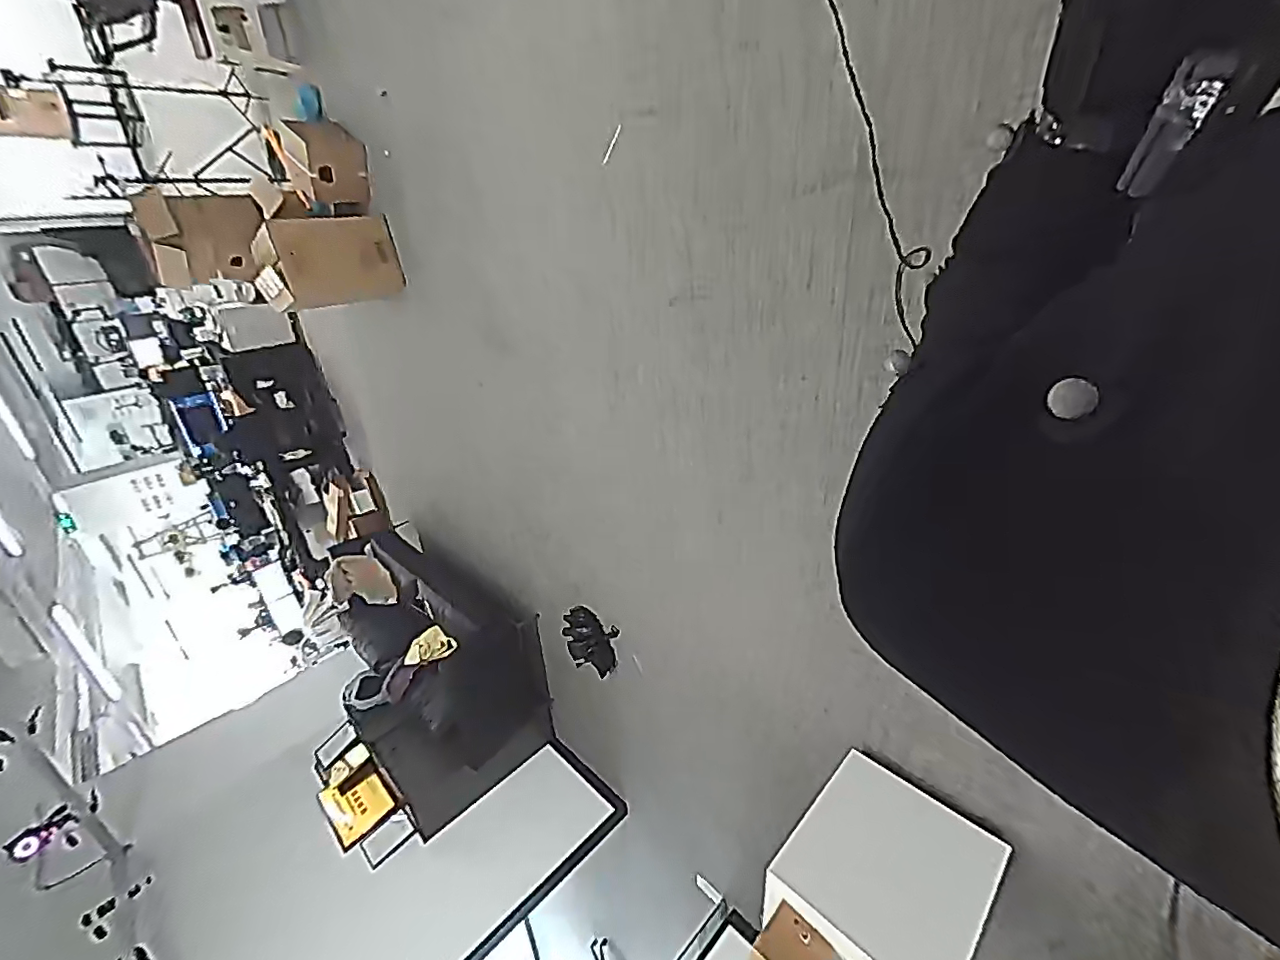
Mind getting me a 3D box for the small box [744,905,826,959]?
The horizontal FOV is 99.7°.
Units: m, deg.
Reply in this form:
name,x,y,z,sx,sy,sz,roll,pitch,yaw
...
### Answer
name,x,y,z,sx,sy,sz,roll,pitch,yaw
small box,0.407,1.380,1.540,0.168,0.176,0.179,26,127,38
